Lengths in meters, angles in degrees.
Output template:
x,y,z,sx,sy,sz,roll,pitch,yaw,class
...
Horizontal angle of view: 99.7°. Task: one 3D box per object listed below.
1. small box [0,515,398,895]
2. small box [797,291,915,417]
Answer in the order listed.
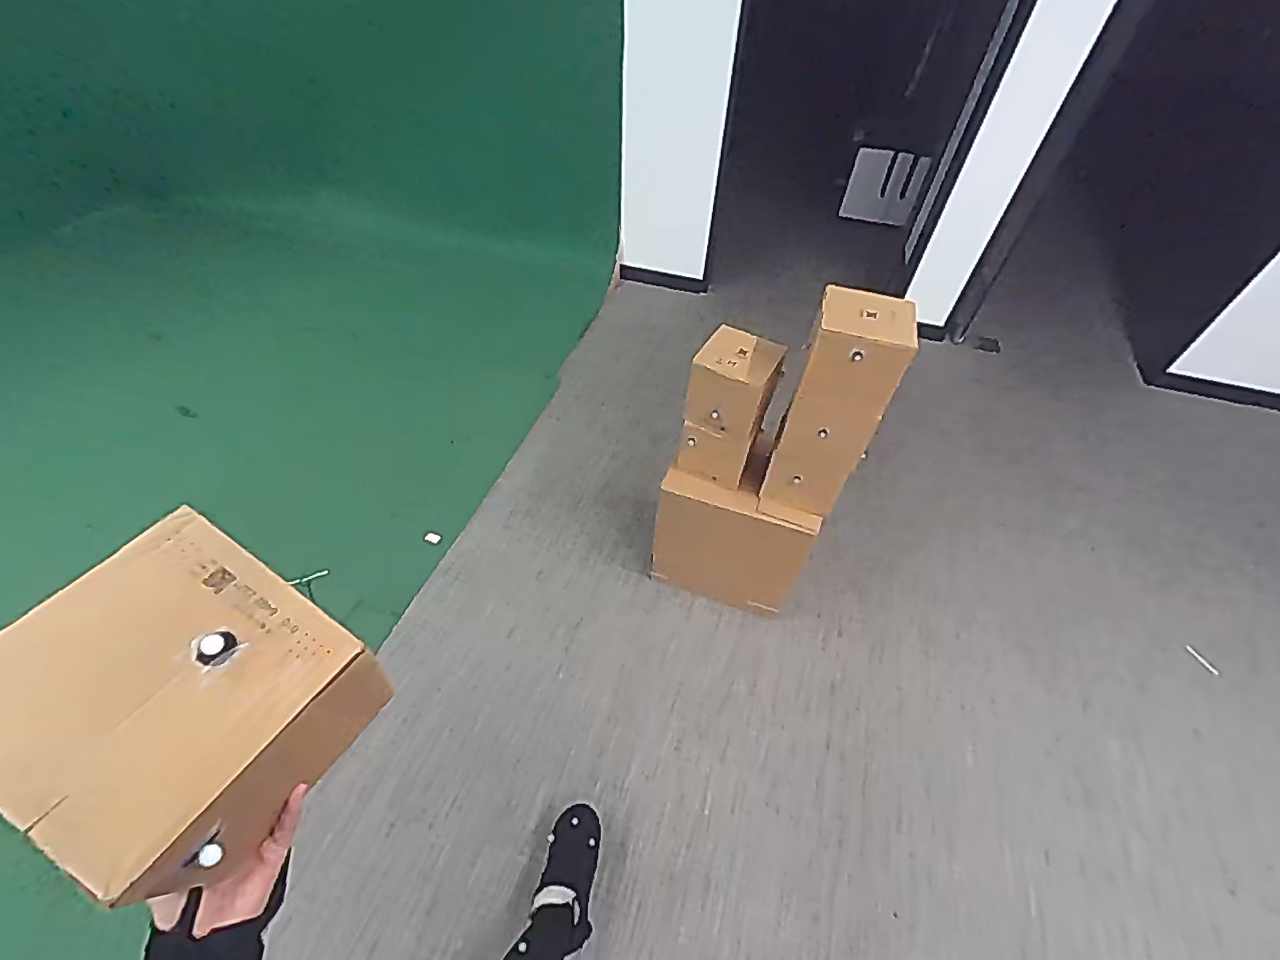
x,y,z,sx,sy,sz,roll,pitch,yaw,class
-0.308,0.160,0.405,0.168,0.179,0.176,35,55,7,small box
0.427,-0.248,1.083,0.179,0.176,0.168,16,50,10,small box
